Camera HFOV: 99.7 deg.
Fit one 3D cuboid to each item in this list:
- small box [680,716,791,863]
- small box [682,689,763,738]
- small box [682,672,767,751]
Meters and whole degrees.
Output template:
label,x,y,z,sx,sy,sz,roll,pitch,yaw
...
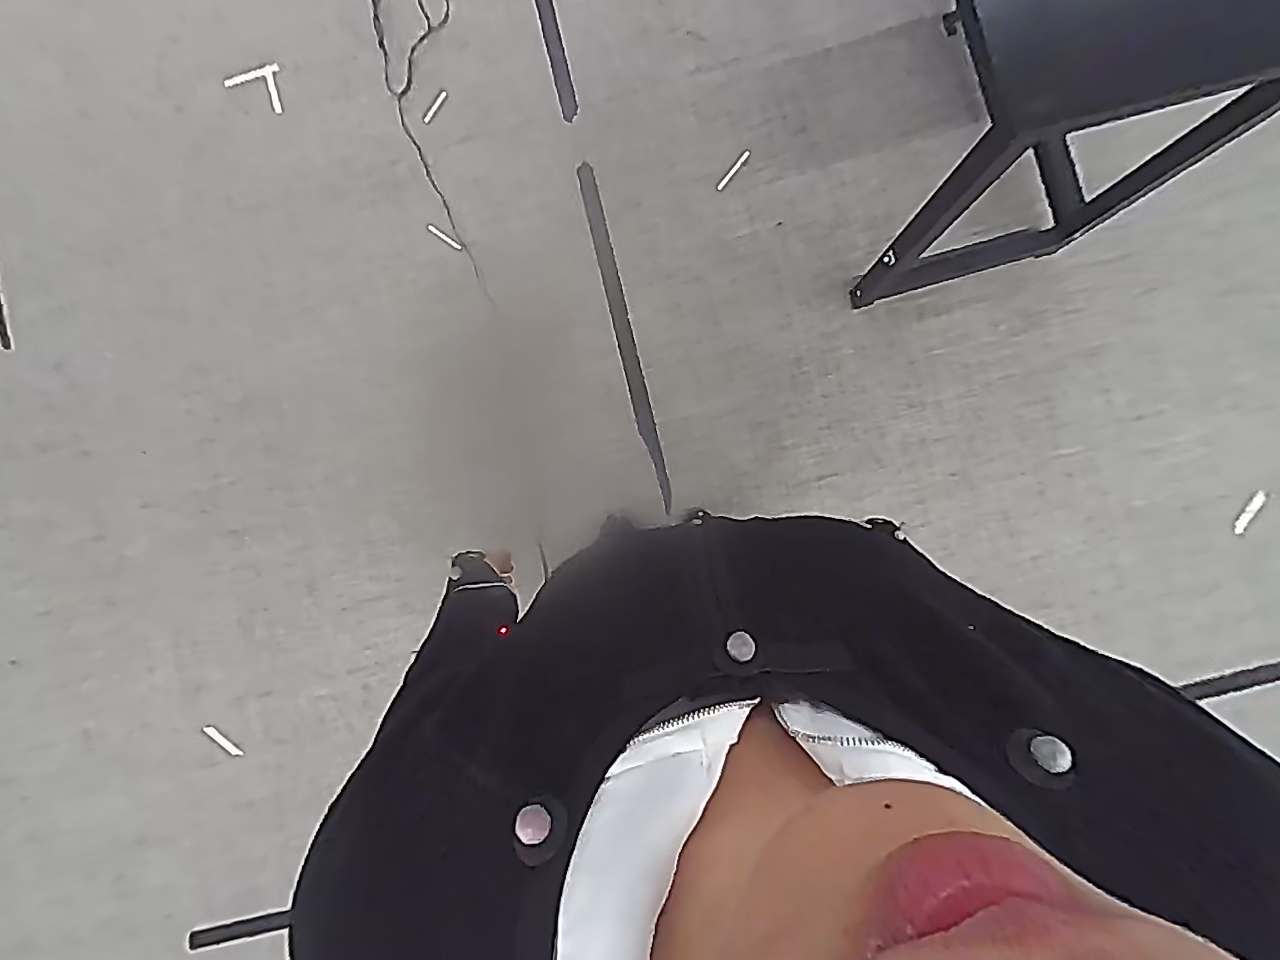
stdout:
label,x,y,z,sx,sy,sz,roll,pitch,yaw
small box,0.182,0.599,1.066,0.168,0.176,0.179,-17,85,3
small box,0.198,0.606,1.230,0.168,0.176,0.179,-17,87,3
small box,0.212,0.616,1.393,0.179,0.176,0.168,-15,87,2
